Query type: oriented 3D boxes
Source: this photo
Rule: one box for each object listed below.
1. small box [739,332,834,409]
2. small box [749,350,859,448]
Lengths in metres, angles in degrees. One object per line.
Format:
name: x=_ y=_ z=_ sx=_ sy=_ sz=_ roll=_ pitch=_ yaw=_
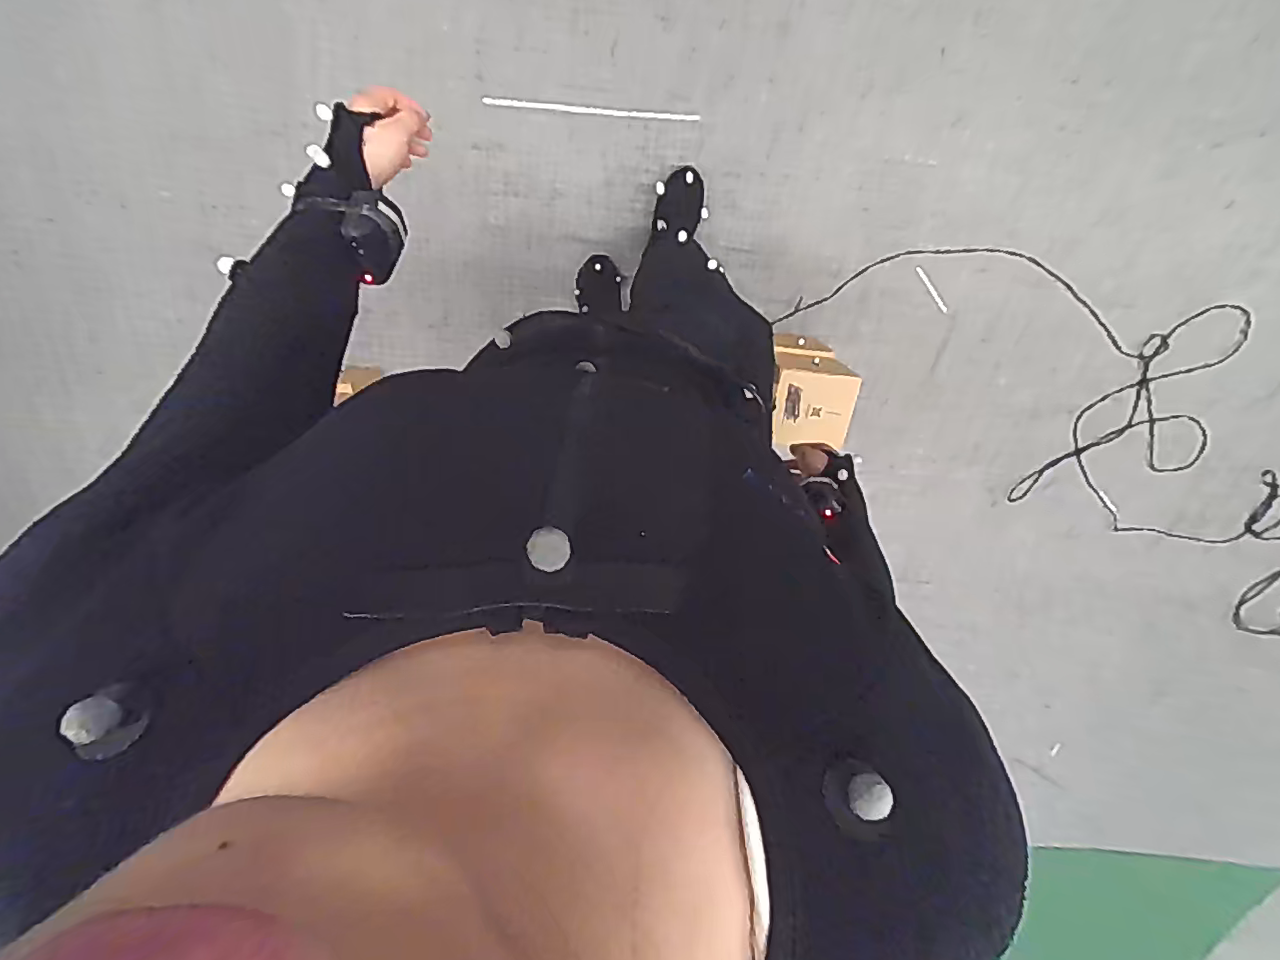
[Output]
small box: x=0.355 y=-0.269 z=1.355 sx=0.179 sy=0.176 sz=0.168 roll=5 pitch=116 yaw=-3
small box: x=0.355 y=-0.187 z=1.212 sx=0.179 sy=0.176 sz=0.168 roll=6 pitch=116 yaw=-4
